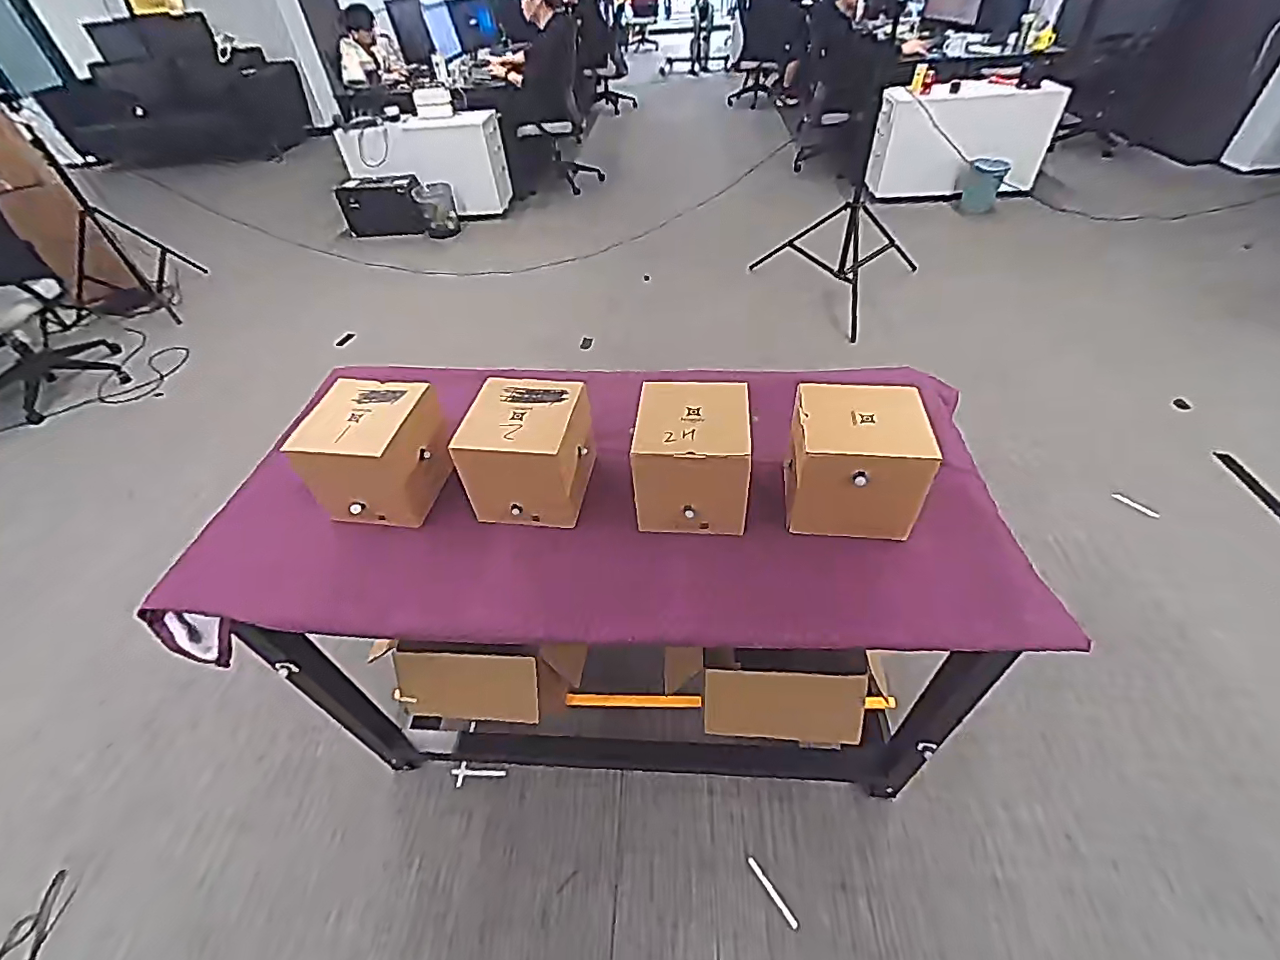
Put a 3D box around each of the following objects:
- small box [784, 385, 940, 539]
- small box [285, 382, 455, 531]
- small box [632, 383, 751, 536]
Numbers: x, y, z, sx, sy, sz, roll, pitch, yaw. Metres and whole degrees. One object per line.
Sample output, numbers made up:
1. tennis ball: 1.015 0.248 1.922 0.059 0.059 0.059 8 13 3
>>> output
1. small box: 0.323 -0.026 0.826 0.179 0.176 0.168 3 44 9
2. small box: -0.428 -0.041 0.898 0.168 0.176 0.179 4 47 9
3. small box: 0.083 -0.034 0.852 0.168 0.176 0.179 1 45 7
